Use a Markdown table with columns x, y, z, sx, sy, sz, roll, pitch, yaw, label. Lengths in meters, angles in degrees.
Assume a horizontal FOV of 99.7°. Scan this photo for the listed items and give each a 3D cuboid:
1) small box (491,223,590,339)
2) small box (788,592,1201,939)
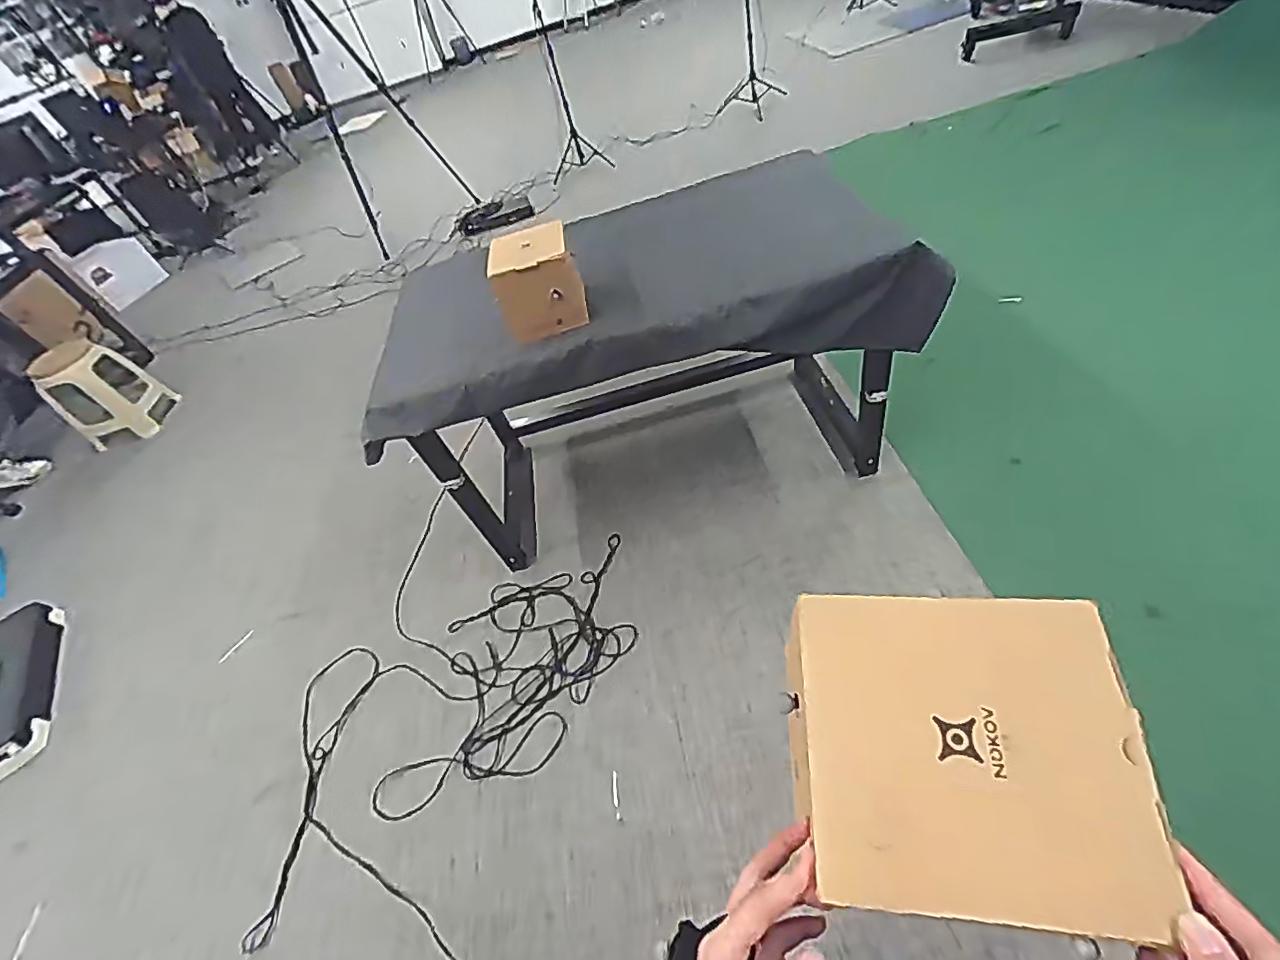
| x | y | z | sx | sy | sz | roll | pitch | yaw | label |
| --- | --- | --- | --- | --- | --- | --- | --- | --- | --- |
| -0.214 | -0.430 | 1.189 | 0.168 | 0.176 | 0.179 | -14 | 46 | 3 | small box |
| 0.196 | 0.182 | 0.372 | 0.179 | 0.176 | 0.168 | -2 | 61 | 10 | small box |
